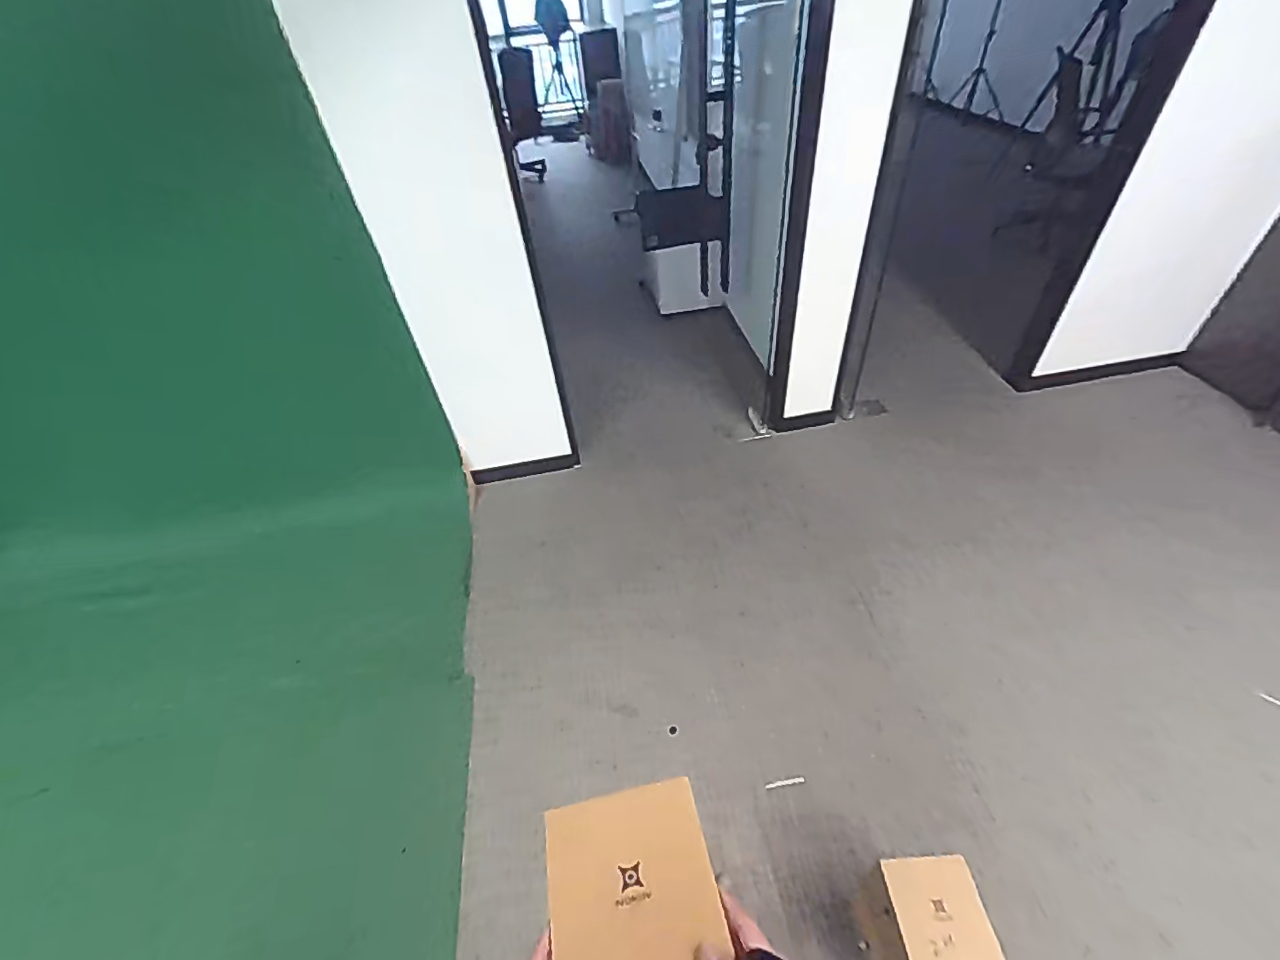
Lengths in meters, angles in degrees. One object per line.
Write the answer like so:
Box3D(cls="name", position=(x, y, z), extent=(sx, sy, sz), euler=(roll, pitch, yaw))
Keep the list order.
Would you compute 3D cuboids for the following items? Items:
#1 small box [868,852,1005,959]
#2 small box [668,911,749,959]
Box3D(cls="small box", position=(0.567, 0.858, 1.063), extent=(0.168, 0.176, 0.179), euler=(-5, 44, 3))
Box3D(cls="small box", position=(0.151, 1.060, 1.167), extent=(0.168, 0.176, 0.179), euler=(-5, 43, 0))
